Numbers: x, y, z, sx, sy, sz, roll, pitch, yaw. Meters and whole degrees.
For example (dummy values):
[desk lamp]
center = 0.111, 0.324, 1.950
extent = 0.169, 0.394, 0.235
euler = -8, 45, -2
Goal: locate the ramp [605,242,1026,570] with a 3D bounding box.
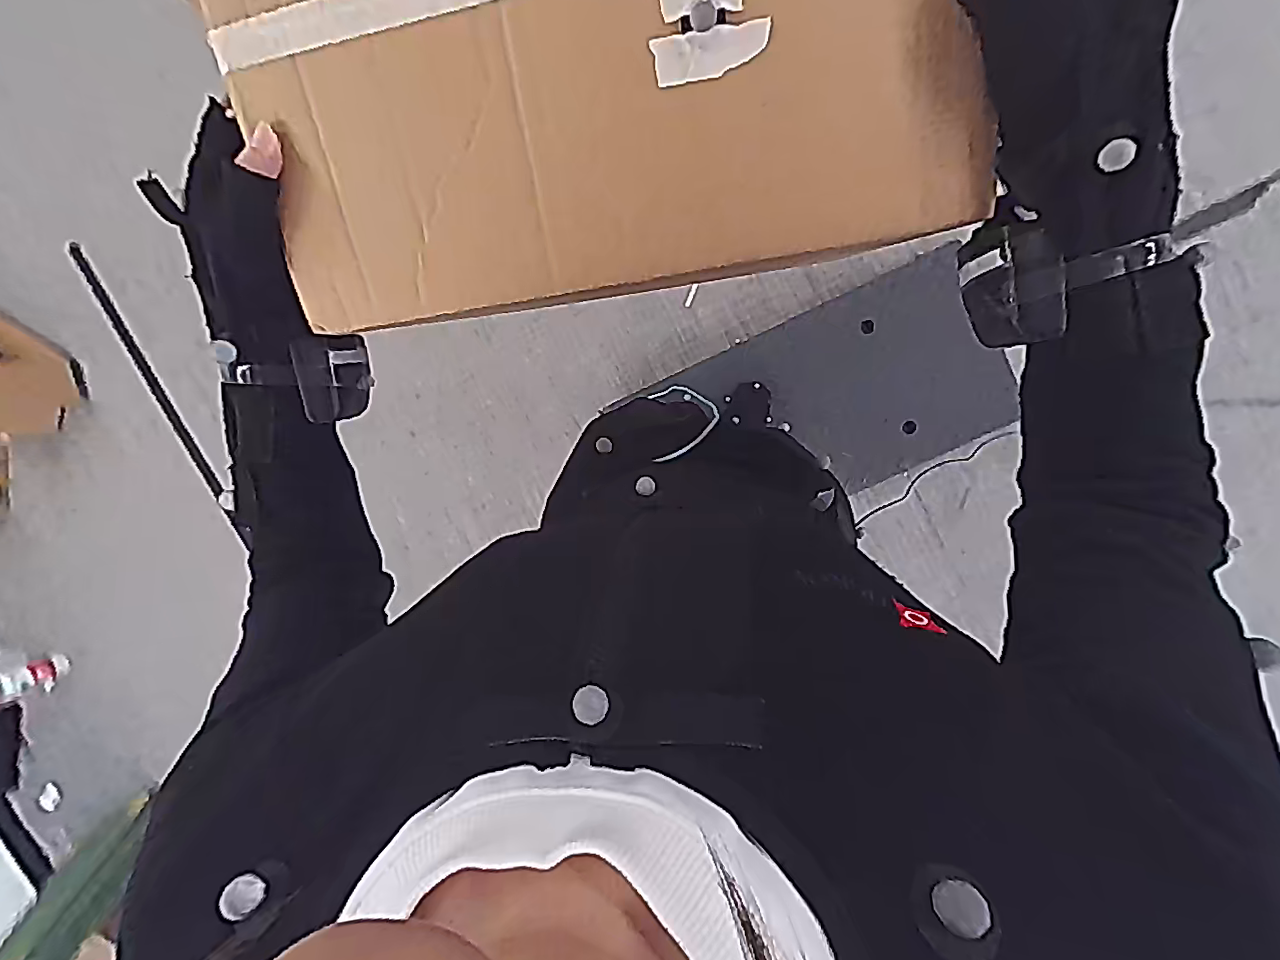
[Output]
[ramp]
center = 0.452, -0.183, 1.419
extent = 0.991, 0.206, 0.509
euler = -26, 93, 14

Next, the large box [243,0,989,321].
[large box]
center = -0.013, -0.320, 0.422
extent = 0.408, 0.320, 0.320
euler = -6, 109, 10
